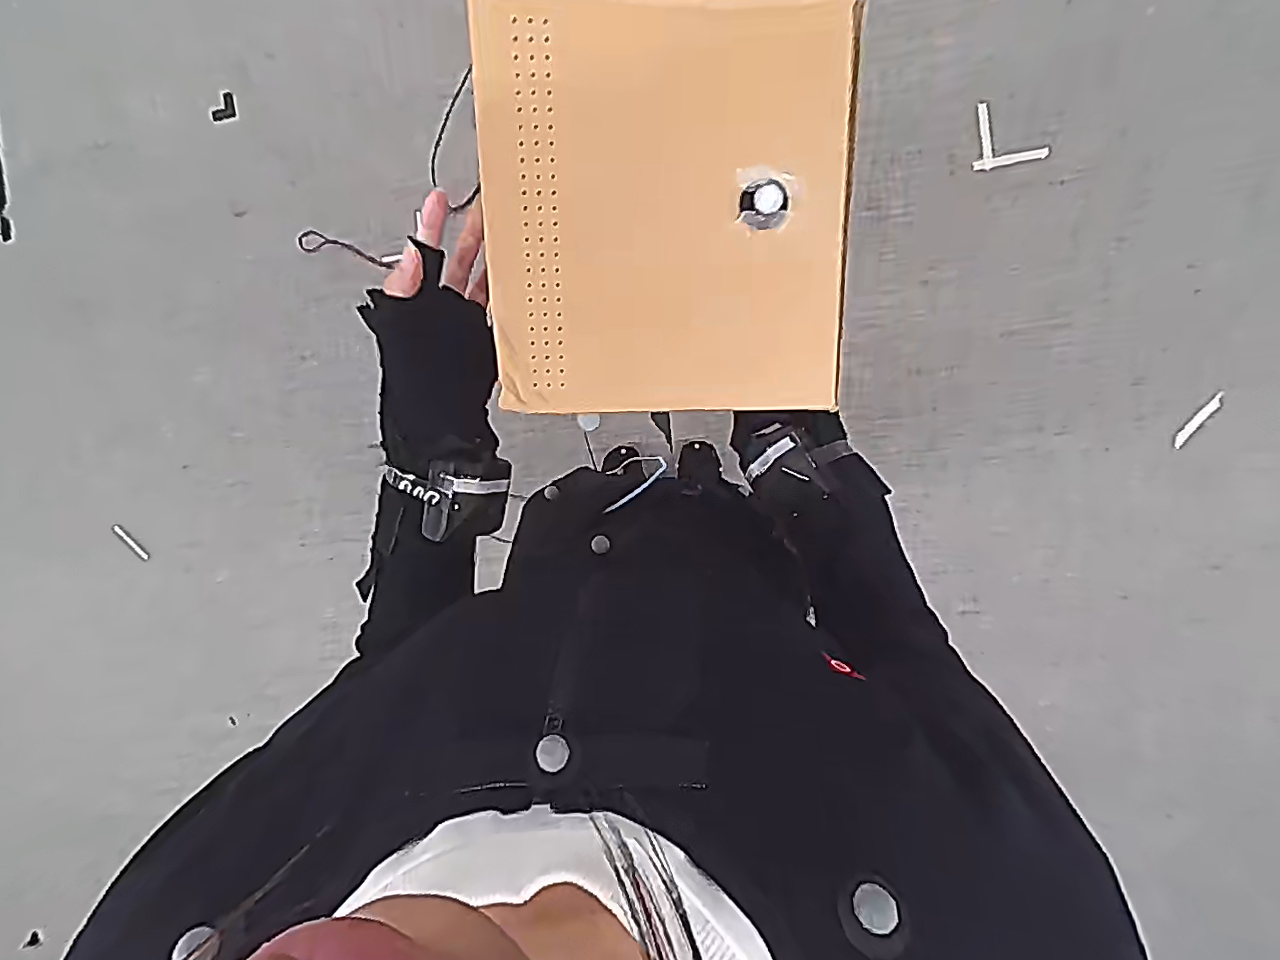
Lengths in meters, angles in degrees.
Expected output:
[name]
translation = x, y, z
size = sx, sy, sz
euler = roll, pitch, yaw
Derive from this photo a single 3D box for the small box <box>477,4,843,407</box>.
[small box]
translation = 0.005, -0.141, 0.330
size = 0.176, 0.168, 0.179
euler = -2, 103, -1
